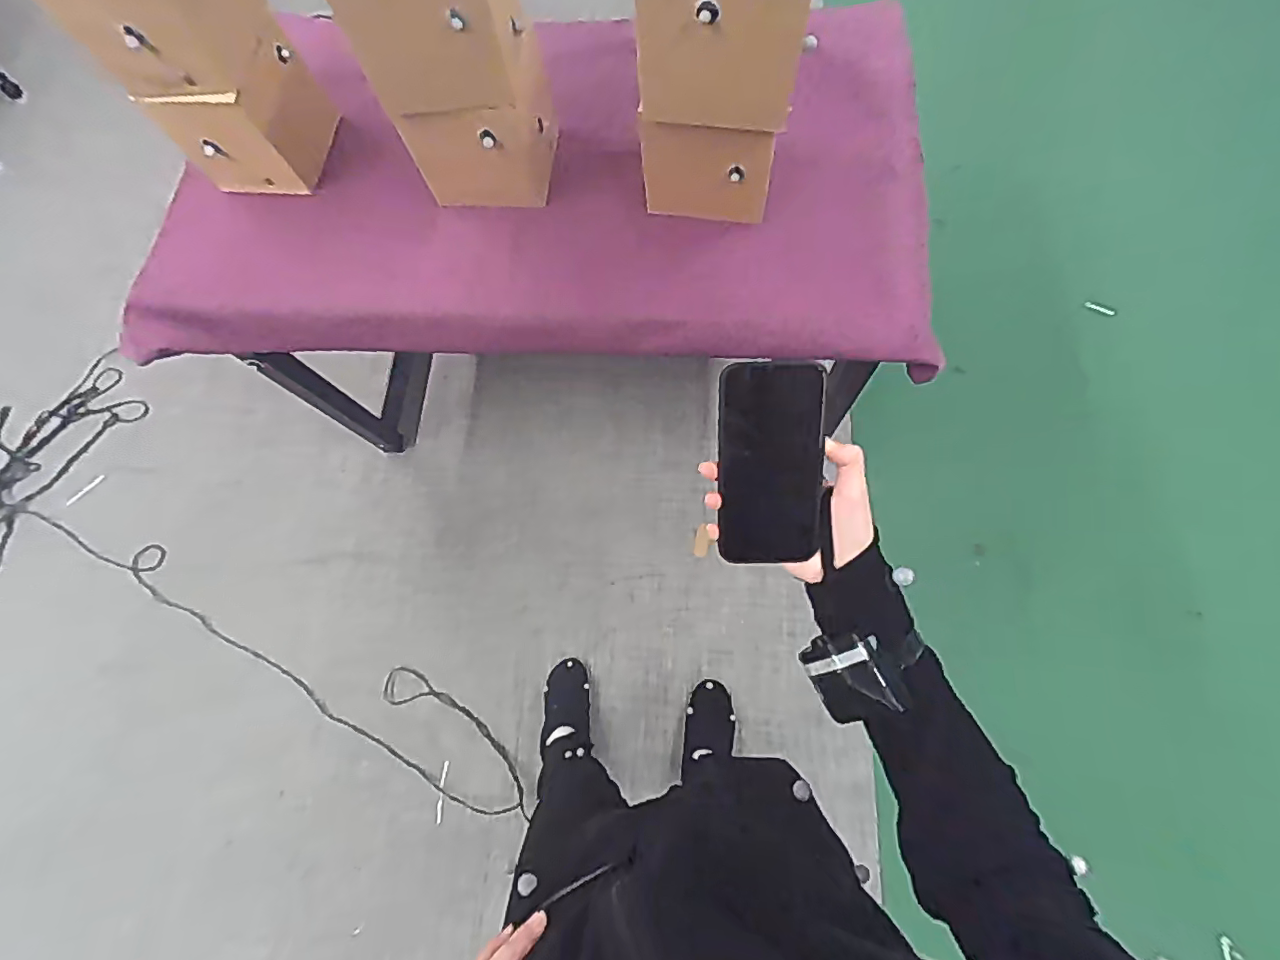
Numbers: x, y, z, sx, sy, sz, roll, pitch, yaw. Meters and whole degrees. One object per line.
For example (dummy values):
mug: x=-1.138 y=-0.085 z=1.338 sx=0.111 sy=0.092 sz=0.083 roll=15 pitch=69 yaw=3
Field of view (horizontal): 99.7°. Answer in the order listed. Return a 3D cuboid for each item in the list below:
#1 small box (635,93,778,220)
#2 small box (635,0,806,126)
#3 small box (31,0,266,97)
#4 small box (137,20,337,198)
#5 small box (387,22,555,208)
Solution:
small box: x=0.102 y=-0.496 z=0.761 sx=0.179 sy=0.176 sz=0.168 roll=10 pitch=73 yaw=9
small box: x=0.093 y=-0.531 z=0.601 sx=0.179 sy=0.176 sz=0.168 roll=9 pitch=73 yaw=8
small box: x=-0.634 y=-0.635 z=0.705 sx=0.168 sy=0.176 sz=0.179 roll=0 pitch=73 yaw=5
small box: x=-0.619 y=-0.577 z=0.858 sx=0.168 sy=0.176 sz=0.179 roll=4 pitch=73 yaw=7
small box: x=-0.234 y=-0.532 z=0.804 sx=0.179 sy=0.176 sz=0.168 roll=4 pitch=73 yaw=7
